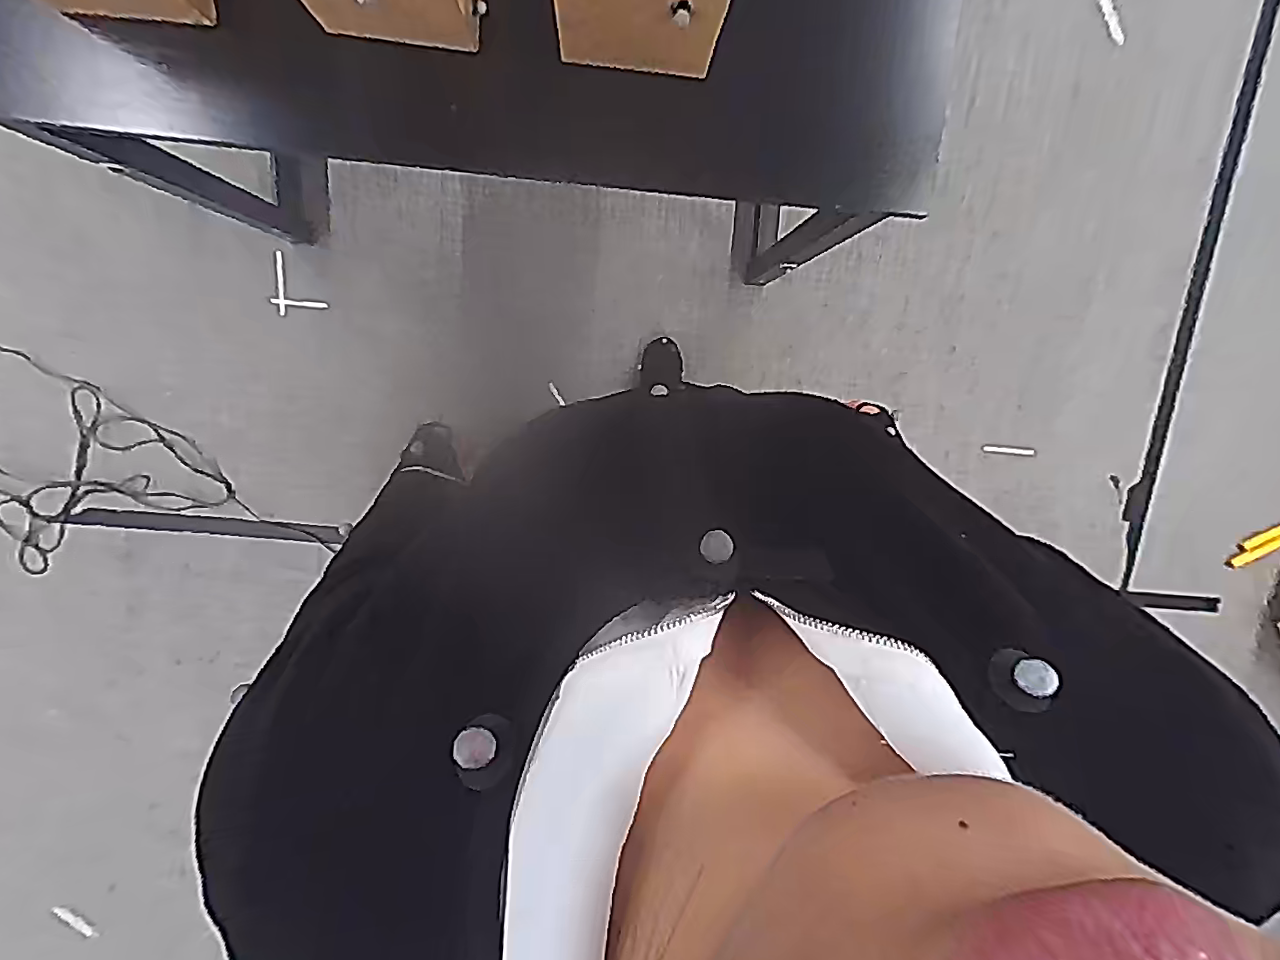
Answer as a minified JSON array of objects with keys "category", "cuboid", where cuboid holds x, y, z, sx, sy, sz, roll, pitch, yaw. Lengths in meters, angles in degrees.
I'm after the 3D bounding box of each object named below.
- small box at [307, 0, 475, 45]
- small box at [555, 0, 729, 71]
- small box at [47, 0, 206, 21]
[{"category":"small box","cuboid":[-0.265,-0.578,0.539,0.179,0.176,0.168,5,101,-4]},{"category":"small box","cuboid":[0.004,-0.562,0.559,0.179,0.176,0.168,3,100,-4]},{"category":"small box","cuboid":[-0.559,-0.587,0.520,0.179,0.176,0.168,1,100,-3]}]
